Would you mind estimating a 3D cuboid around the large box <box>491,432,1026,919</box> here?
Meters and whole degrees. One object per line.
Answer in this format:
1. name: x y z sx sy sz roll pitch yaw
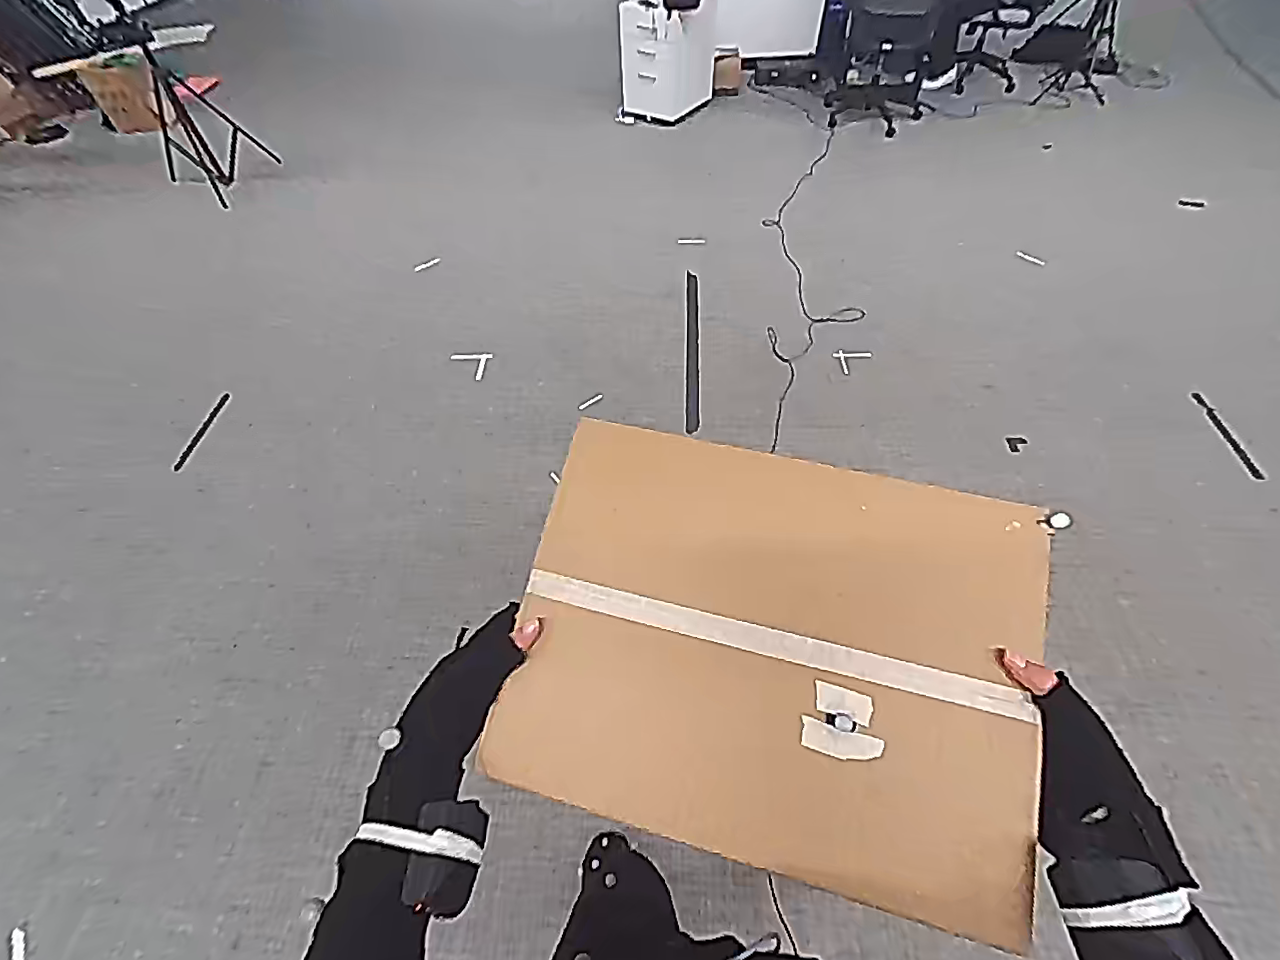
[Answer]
1. large box: 0.114 0.175 0.589 0.408 0.320 0.320 12 75 9
